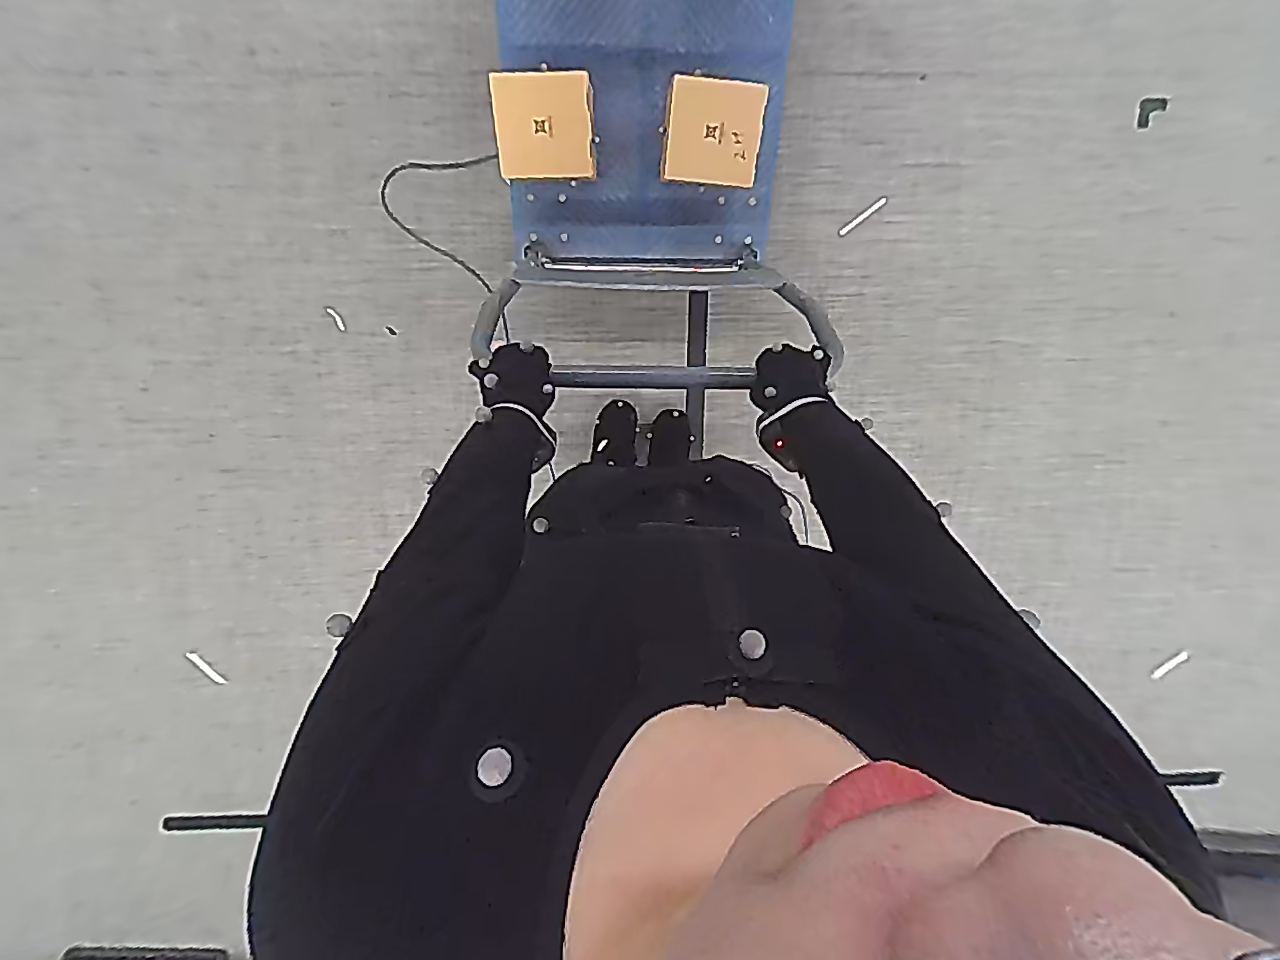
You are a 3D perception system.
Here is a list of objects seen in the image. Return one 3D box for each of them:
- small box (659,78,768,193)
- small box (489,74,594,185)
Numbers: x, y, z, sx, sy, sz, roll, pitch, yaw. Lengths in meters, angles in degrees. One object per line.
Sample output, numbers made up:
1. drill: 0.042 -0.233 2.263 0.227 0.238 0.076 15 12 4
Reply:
1. small box: 0.134 -0.671 1.072 0.179 0.176 0.168 4 117 -4
2. small box: -0.183 -0.676 1.058 0.179 0.176 0.168 -3 117 -2
